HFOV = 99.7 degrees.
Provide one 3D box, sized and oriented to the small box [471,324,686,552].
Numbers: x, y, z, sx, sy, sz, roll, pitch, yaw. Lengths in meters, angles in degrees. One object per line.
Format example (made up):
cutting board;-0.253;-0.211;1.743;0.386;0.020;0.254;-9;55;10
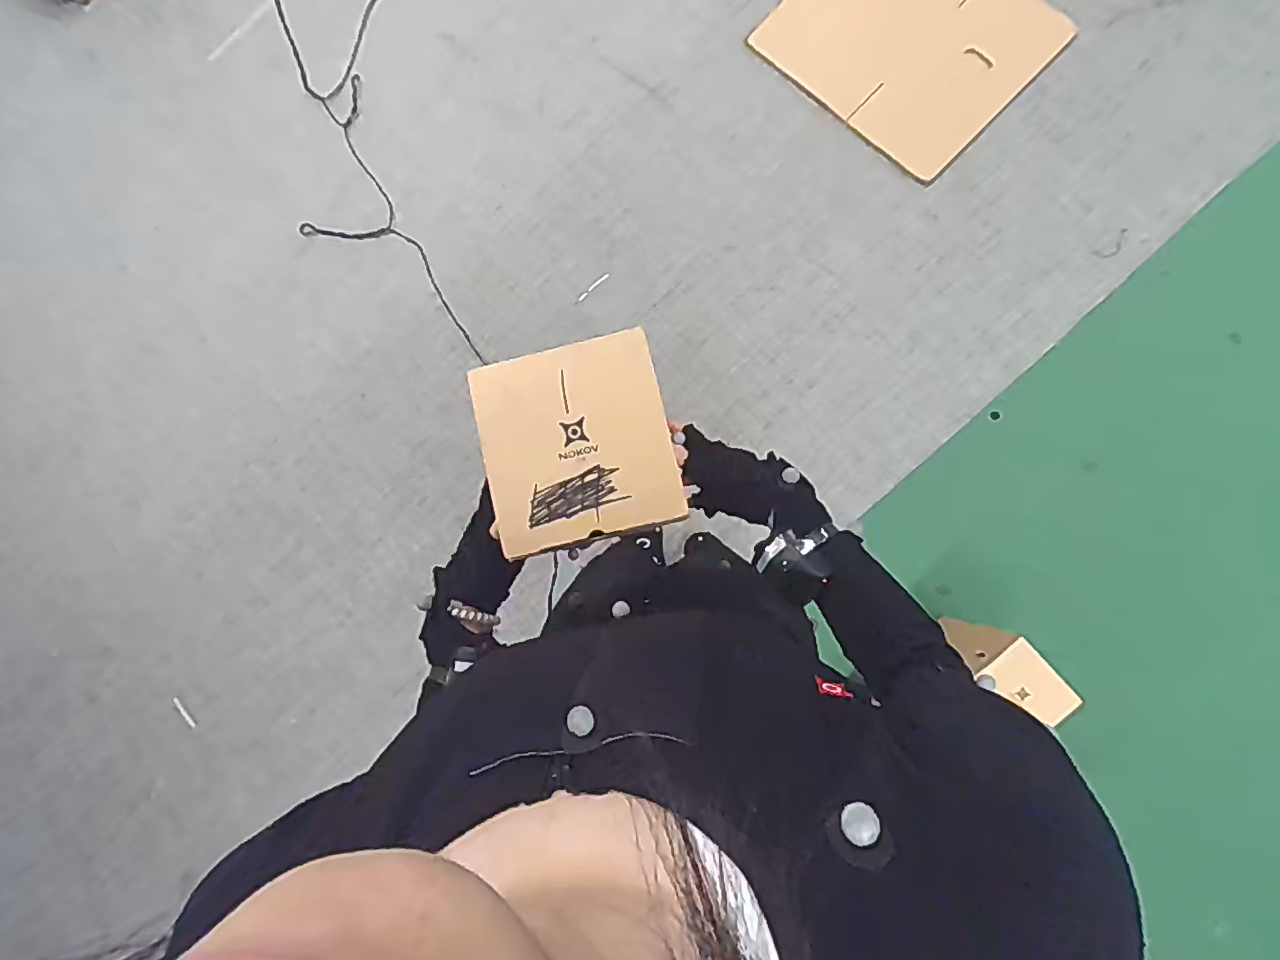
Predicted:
small box;-0.051;-0.032;0.553;0.168;0.176;0.179;-13;84;1

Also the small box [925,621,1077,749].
small box;0.758;0.427;1.160;0.179;0.176;0.168;-40;82;1
